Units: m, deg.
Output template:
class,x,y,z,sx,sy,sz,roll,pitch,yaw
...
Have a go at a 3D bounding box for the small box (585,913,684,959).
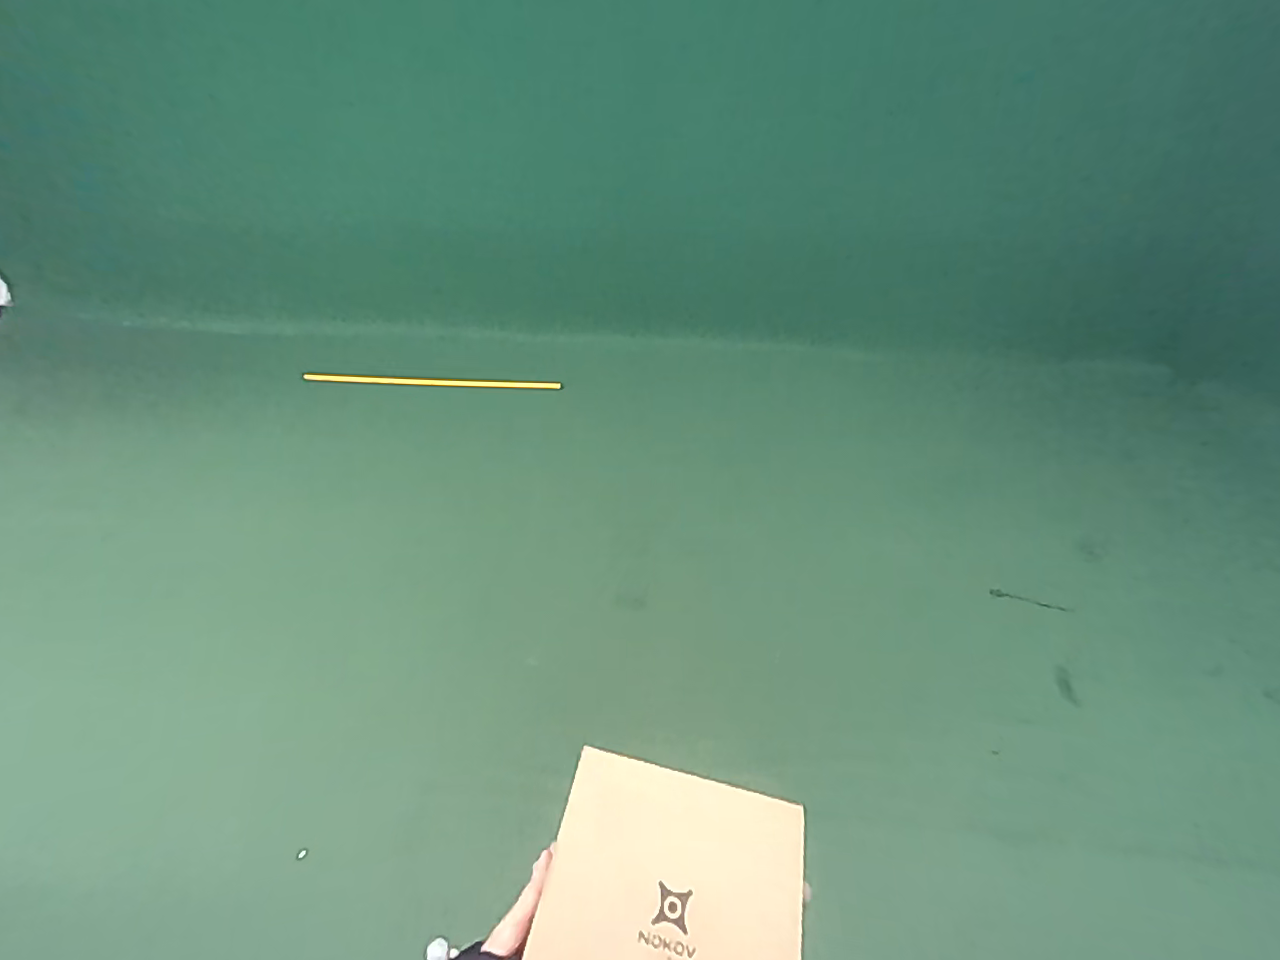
class,x,y,z,sx,sy,sz,roll,pitch,yaw
small box,-0.016,0.864,0.919,0.168,0.176,0.179,4,45,0
